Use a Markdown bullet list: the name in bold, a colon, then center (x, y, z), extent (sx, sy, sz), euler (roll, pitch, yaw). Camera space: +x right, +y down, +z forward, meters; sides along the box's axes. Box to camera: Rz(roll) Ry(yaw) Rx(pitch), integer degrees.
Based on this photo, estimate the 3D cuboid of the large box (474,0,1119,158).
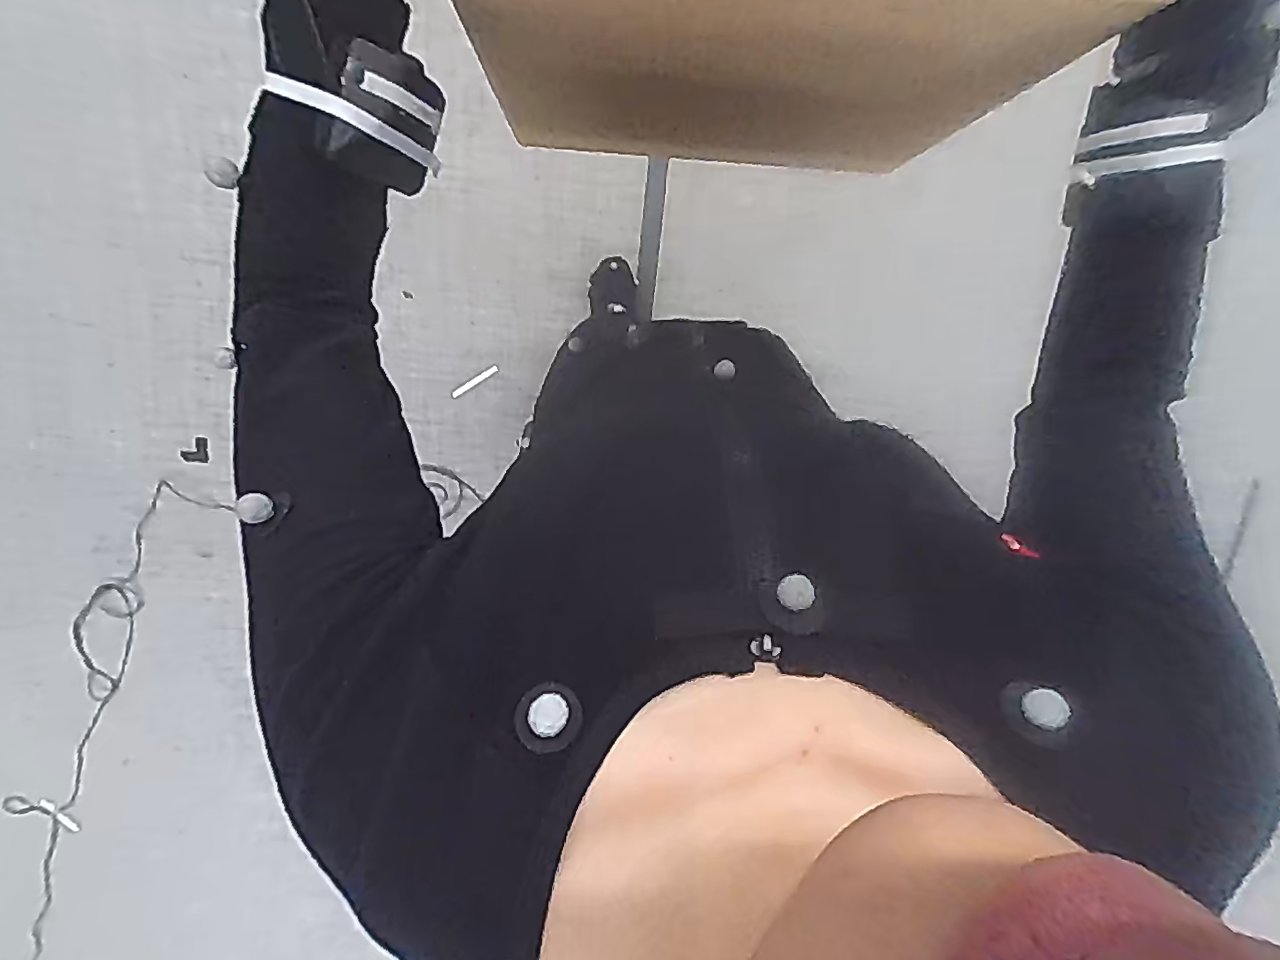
- **large box**: center (0.087, -0.464, 0.399), extent (0.408, 0.320, 0.320), euler (1, 105, -5)
